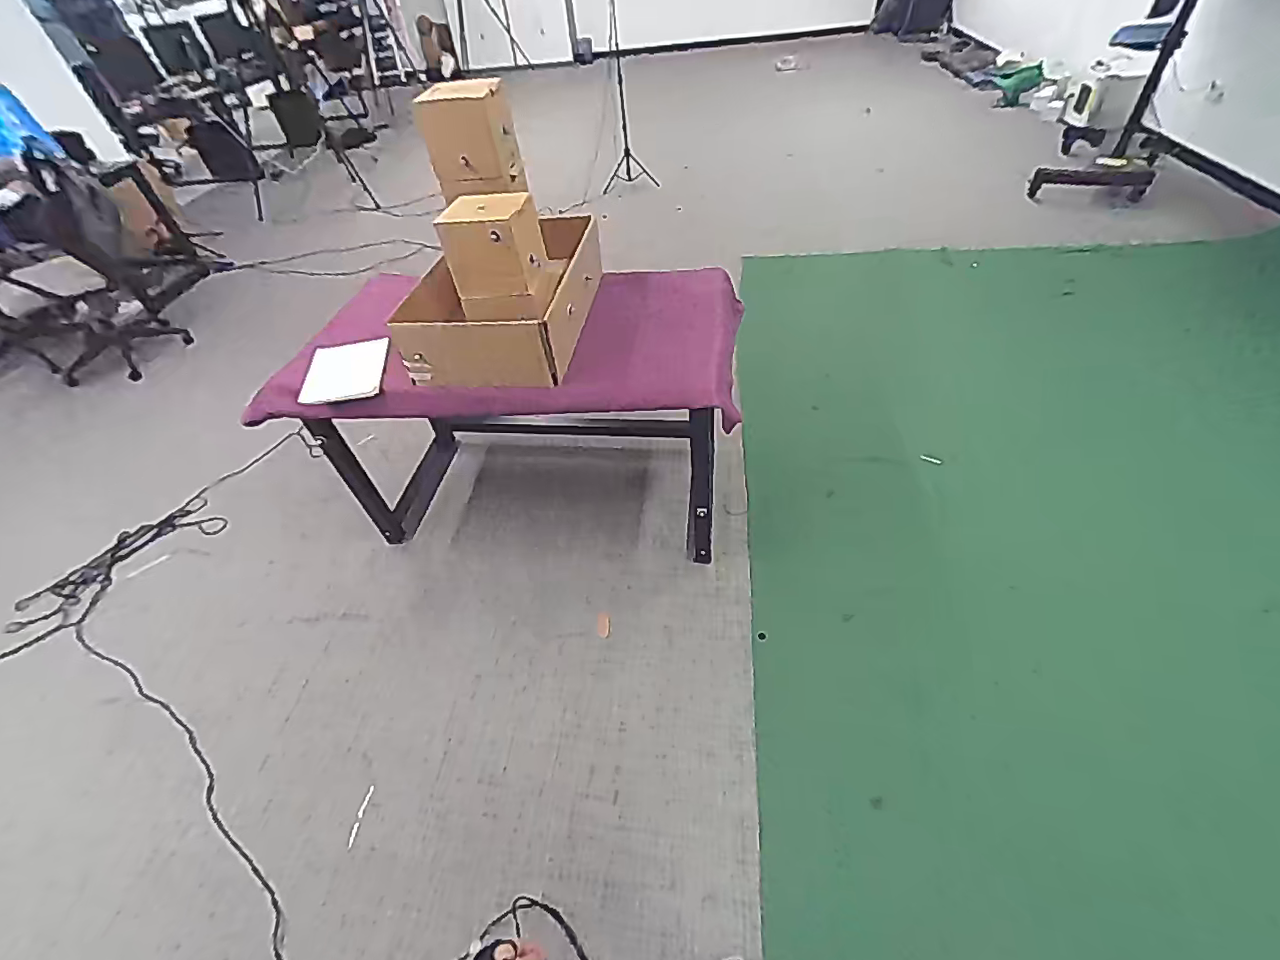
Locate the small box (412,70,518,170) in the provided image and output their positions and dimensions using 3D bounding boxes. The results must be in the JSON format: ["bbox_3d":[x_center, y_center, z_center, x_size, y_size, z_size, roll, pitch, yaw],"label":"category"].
[{"bbox_3d":[-0.411,-0.870,1.312,0.179,0.176,0.168,3,48,8],"label":"small box"}]

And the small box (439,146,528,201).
[{"bbox_3d":[-0.395,-0.758,1.431,0.179,0.176,0.168,0,48,7],"label":"small box"}]

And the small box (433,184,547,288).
[{"bbox_3d":[-0.327,-0.547,1.219,0.179,0.176,0.168,2,46,9],"label":"small box"}]
